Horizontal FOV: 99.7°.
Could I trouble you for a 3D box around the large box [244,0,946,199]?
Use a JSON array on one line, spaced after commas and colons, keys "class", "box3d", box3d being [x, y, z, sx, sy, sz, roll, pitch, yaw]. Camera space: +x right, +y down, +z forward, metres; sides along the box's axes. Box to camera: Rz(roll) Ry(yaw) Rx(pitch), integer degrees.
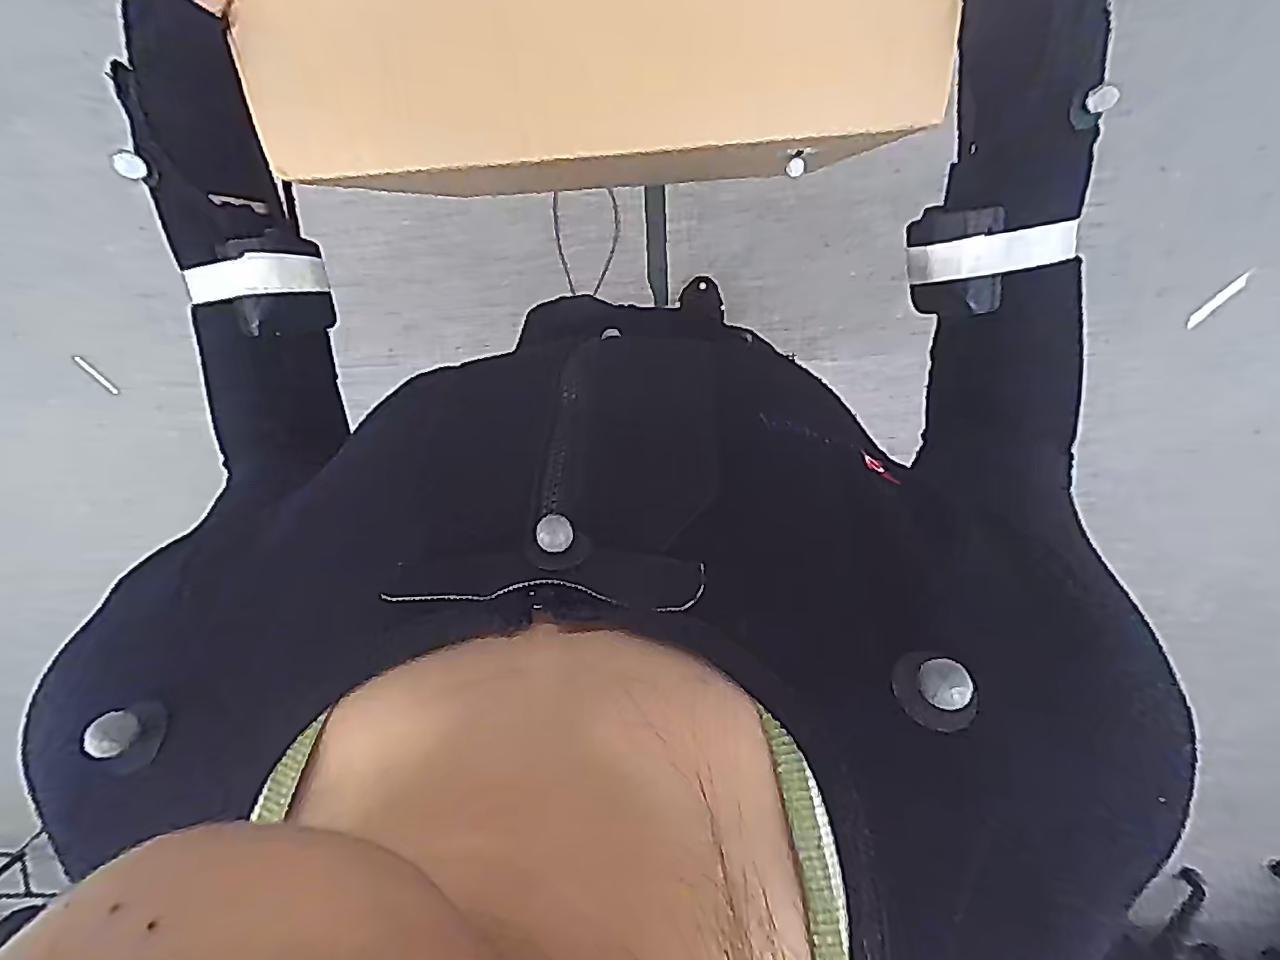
[{"class": "large box", "box3d": [-0.025, -0.403, 0.407, 0.408, 0.320, 0.320, -2, 115, 5]}]
